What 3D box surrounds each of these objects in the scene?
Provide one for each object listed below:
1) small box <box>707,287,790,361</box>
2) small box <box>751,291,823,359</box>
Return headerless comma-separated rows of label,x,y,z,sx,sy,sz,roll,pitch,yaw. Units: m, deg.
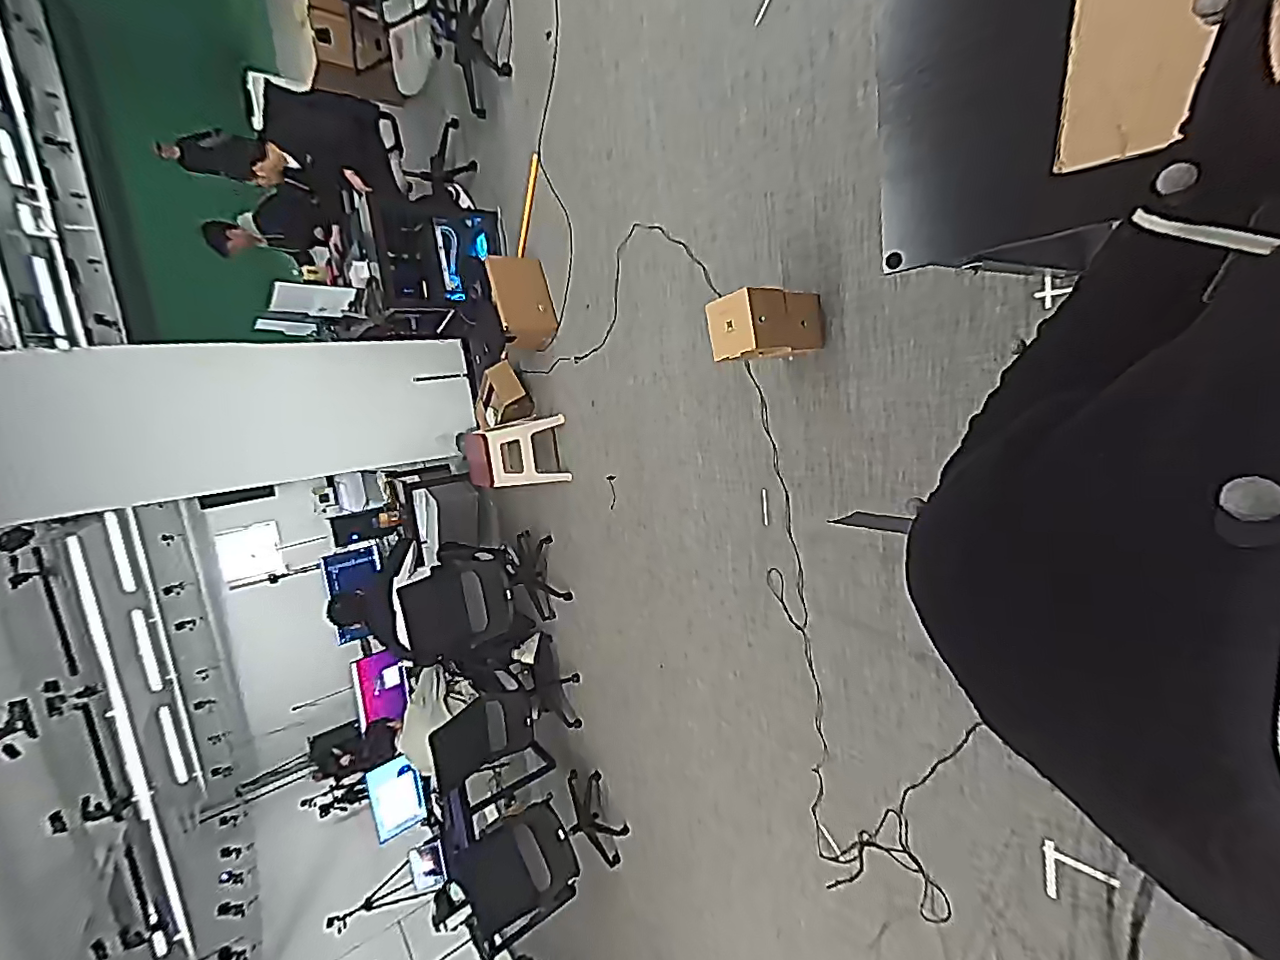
small box,0.325,-0.462,1.607,0.168,0.176,0.179,-5,95,53
small box,0.455,-0.485,1.703,0.168,0.176,0.179,0,101,53
